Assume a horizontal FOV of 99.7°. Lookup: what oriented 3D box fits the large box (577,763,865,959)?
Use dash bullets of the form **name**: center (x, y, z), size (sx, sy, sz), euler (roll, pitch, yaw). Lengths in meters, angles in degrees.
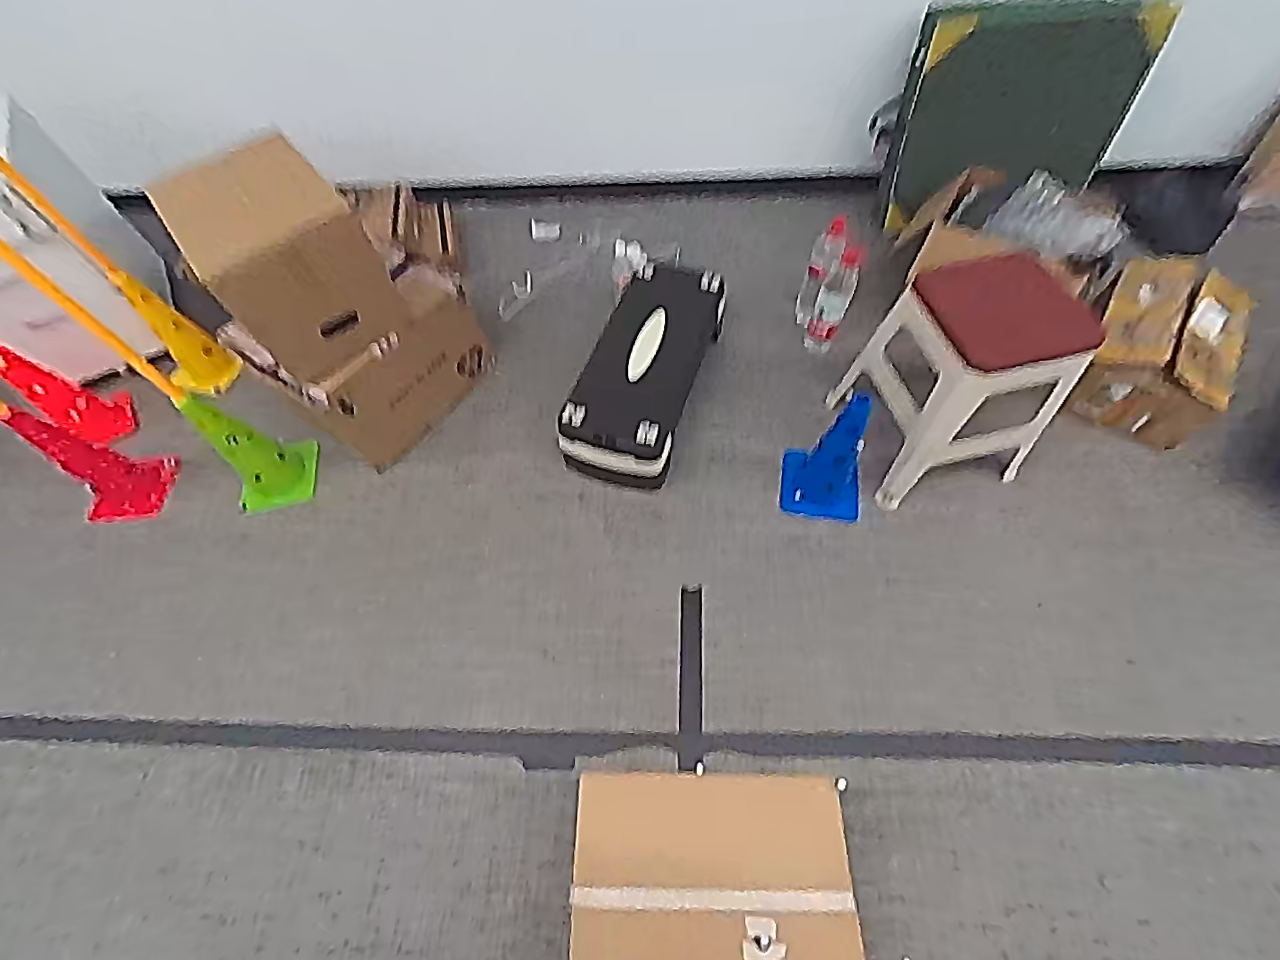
- **large box**: center (0.112, 0.661, 0.909), size (0.408, 0.320, 0.320), euler (0, 61, 1)
